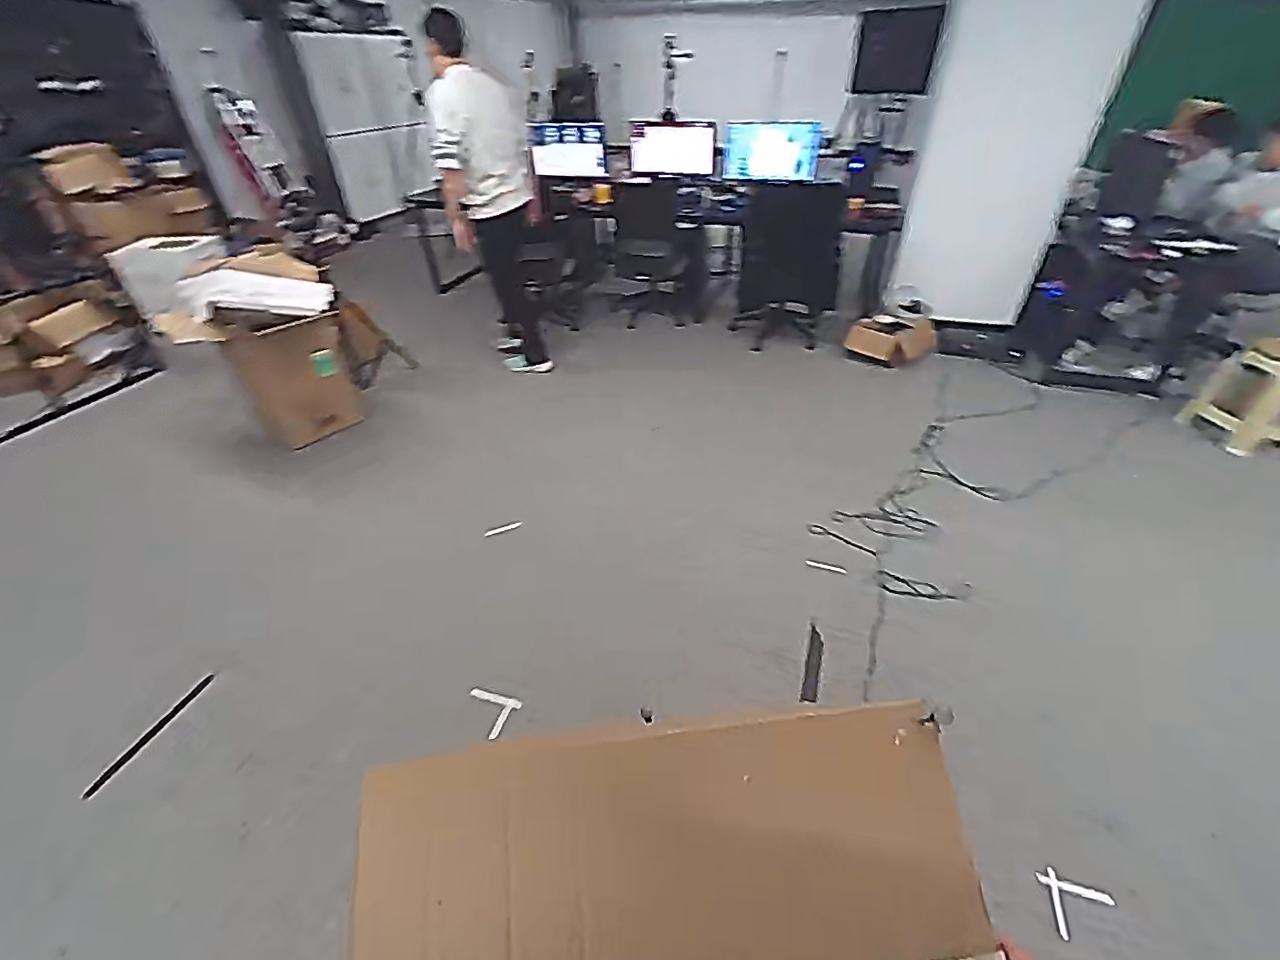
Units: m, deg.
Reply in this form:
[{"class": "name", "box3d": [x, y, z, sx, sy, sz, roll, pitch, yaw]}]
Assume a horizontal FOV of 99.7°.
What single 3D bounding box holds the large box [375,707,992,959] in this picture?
[{"class": "large box", "box3d": [0.030, 0.390, 0.475, 0.408, 0.320, 0.320, -6, 69, -2]}]
